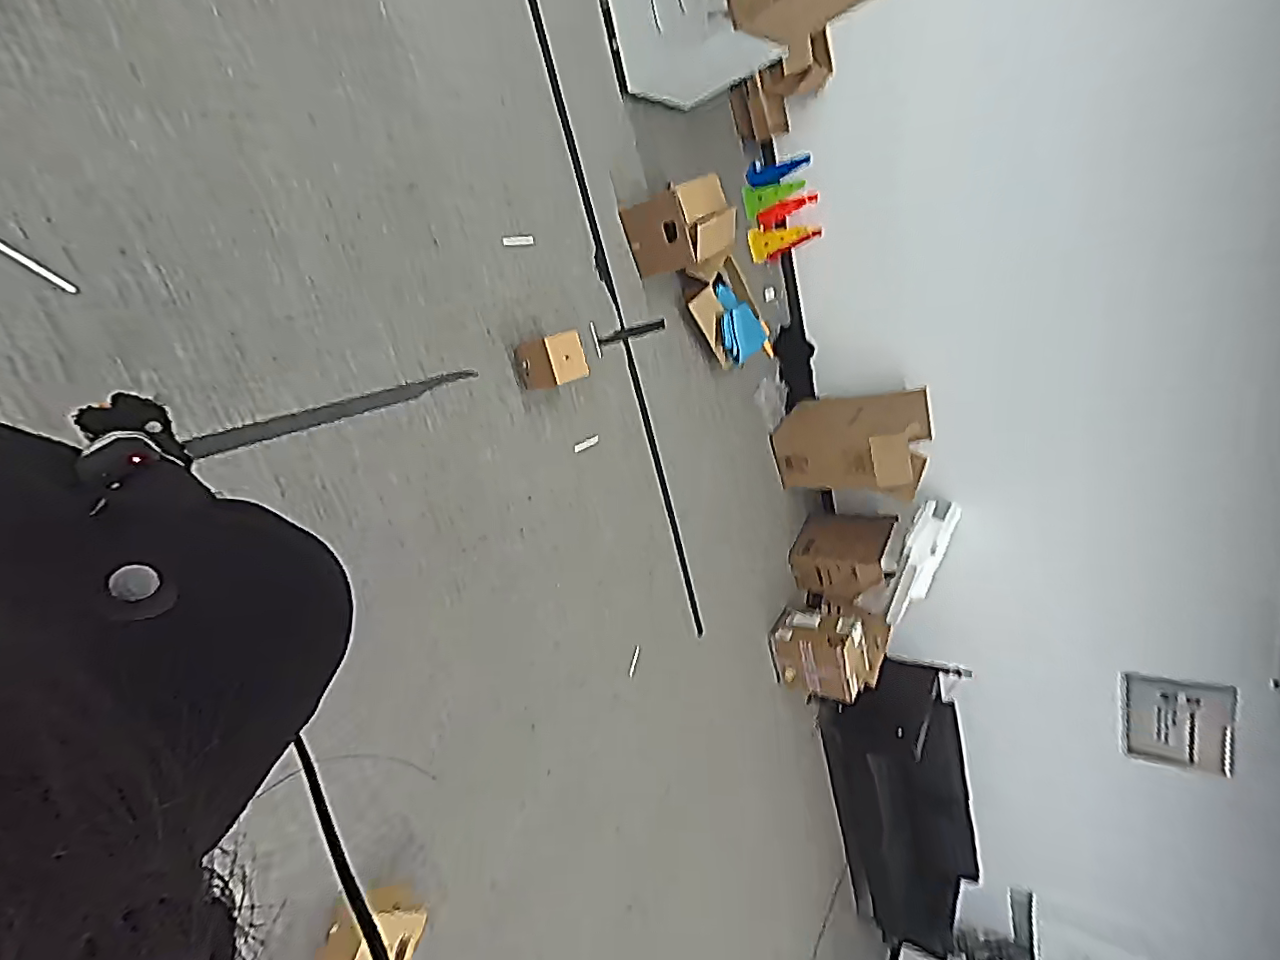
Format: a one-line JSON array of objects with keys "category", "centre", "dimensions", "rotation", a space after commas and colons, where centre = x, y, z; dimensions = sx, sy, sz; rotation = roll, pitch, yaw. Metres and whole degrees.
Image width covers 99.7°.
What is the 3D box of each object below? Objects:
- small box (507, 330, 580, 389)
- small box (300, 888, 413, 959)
[{"category": "small box", "centre": [-0.352, -0.440, 1.974], "dimensions": [0.179, 0.176, 0.168], "rotation": [-33, 113, -47]}, {"category": "small box", "centre": [-0.747, 1.209, 1.426], "dimensions": [0.179, 0.176, 0.168], "rotation": [41, 58, -43]}]
